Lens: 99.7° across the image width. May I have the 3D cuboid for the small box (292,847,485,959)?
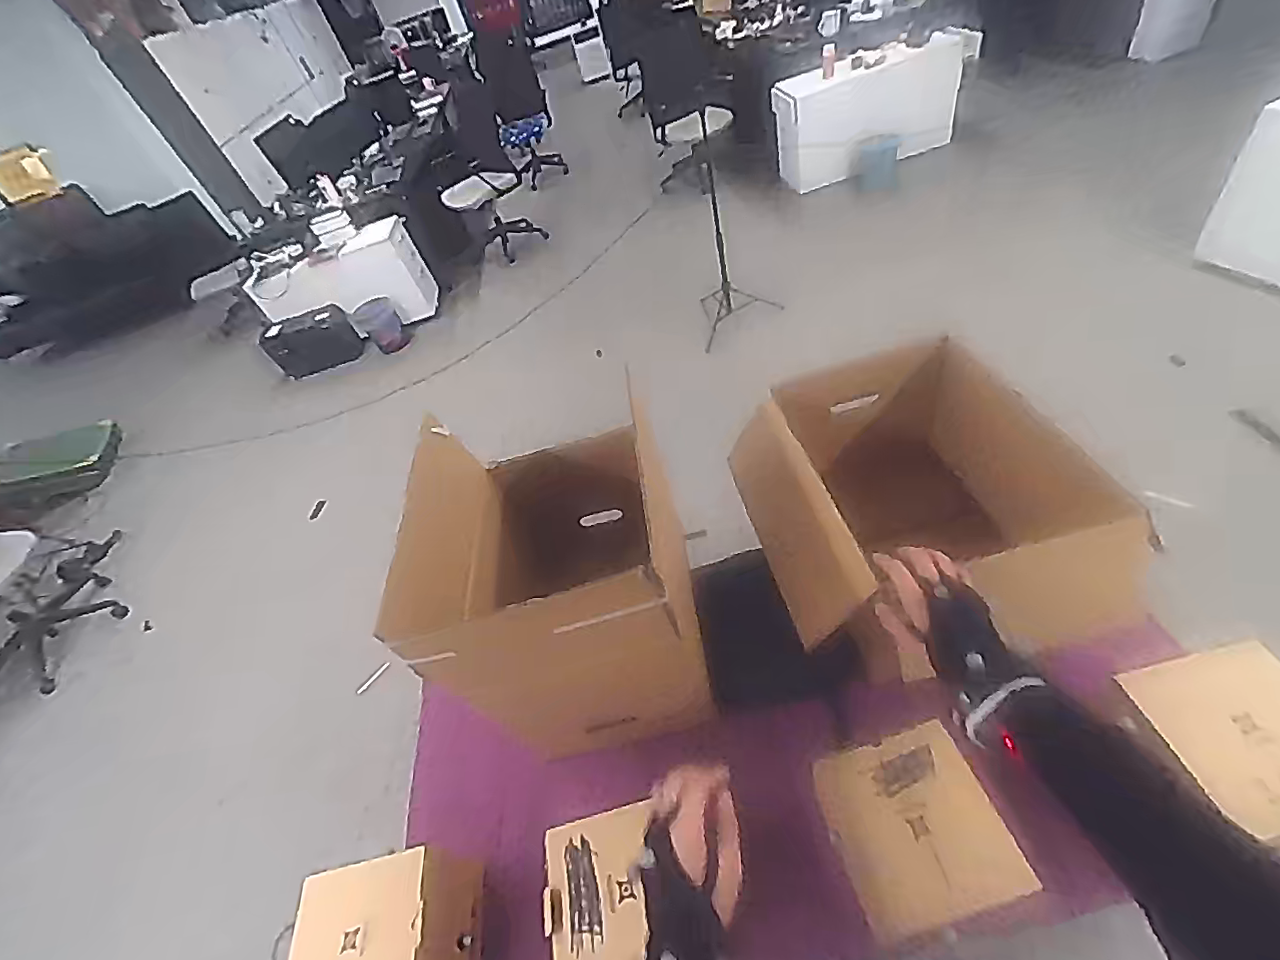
[{"bbox_3d":[-0.327,0.618,0.718,0.179,0.176,0.168,-17,45,3],"label":"small box"}]

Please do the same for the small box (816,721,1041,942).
[{"bbox_3d":[0.327,0.428,0.657,0.168,0.176,0.179,-20,46,2],"label":"small box"}]

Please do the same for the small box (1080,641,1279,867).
[{"bbox_3d":[0.669,0.320,0.630,0.168,0.176,0.179,-17,45,6],"label":"small box"}]
